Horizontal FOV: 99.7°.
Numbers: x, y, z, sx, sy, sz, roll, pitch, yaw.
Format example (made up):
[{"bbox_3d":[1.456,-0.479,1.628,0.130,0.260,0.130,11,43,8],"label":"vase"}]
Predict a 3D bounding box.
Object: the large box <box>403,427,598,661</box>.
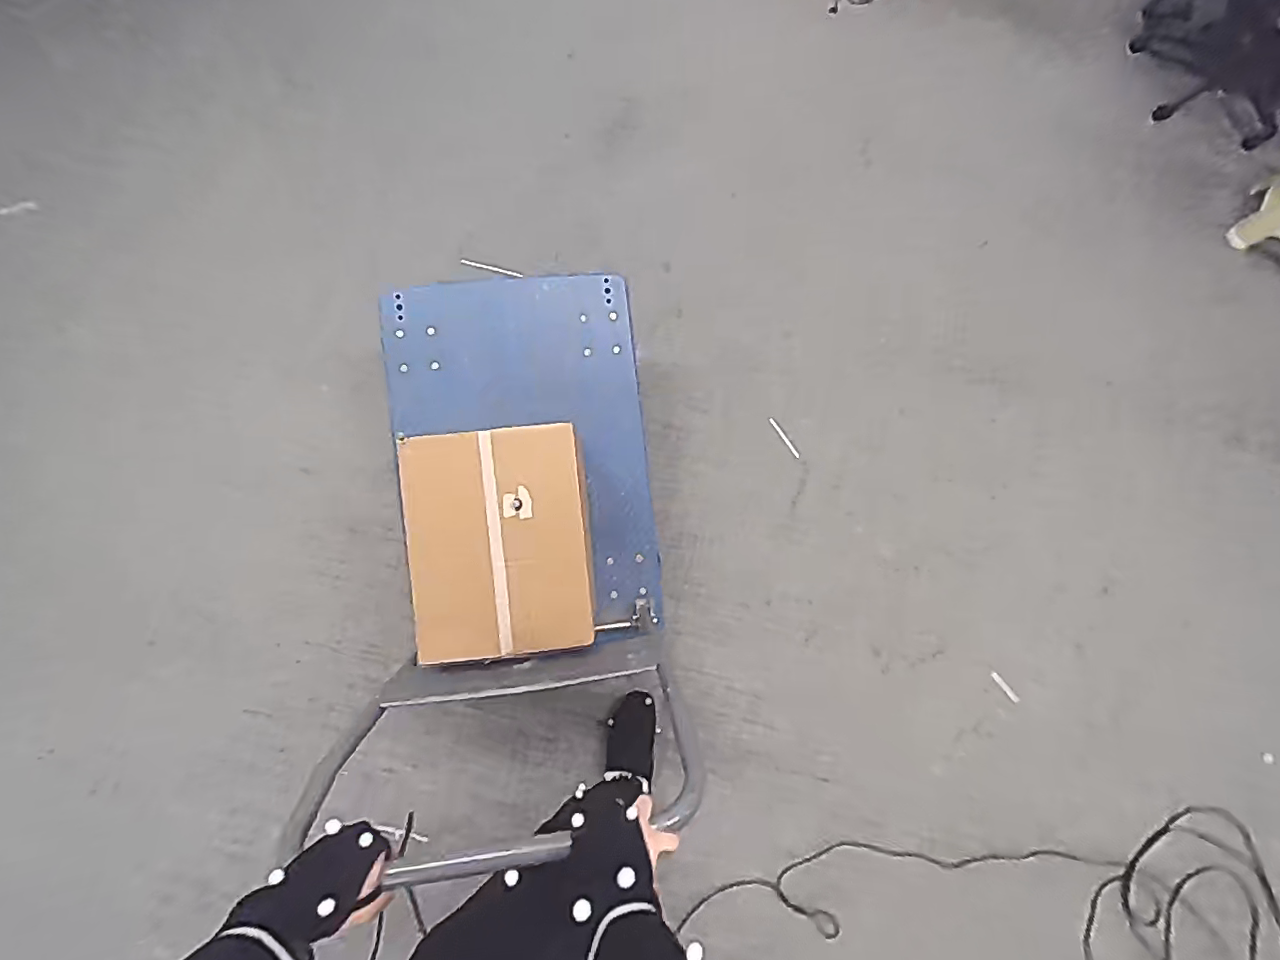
[{"bbox_3d":[-0.264,0.119,1.134,0.320,0.320,0.408,-6,89,-4],"label":"large box"}]
